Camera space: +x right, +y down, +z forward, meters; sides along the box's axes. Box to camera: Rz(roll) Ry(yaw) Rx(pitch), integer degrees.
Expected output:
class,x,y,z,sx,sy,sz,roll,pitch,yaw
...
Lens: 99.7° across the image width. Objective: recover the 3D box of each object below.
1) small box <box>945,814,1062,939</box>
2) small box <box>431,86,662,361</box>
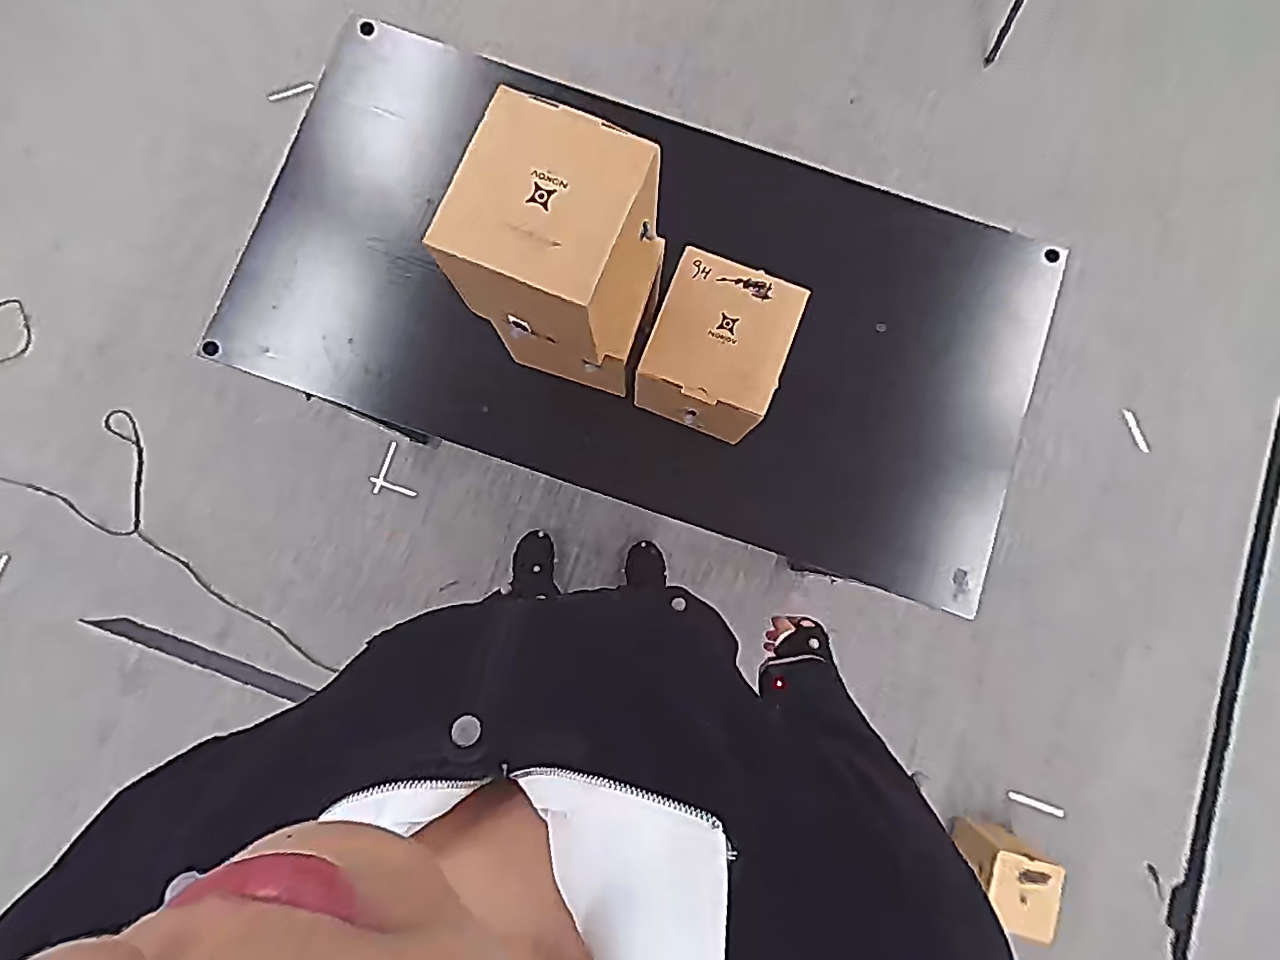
class,x,y,z,sx,sy,sz,roll,pitch,yaw
small box,0.900,0.980,1.355,0.168,0.176,0.179,16,84,1
small box,-0.087,-0.256,0.578,0.168,0.176,0.179,22,84,3
